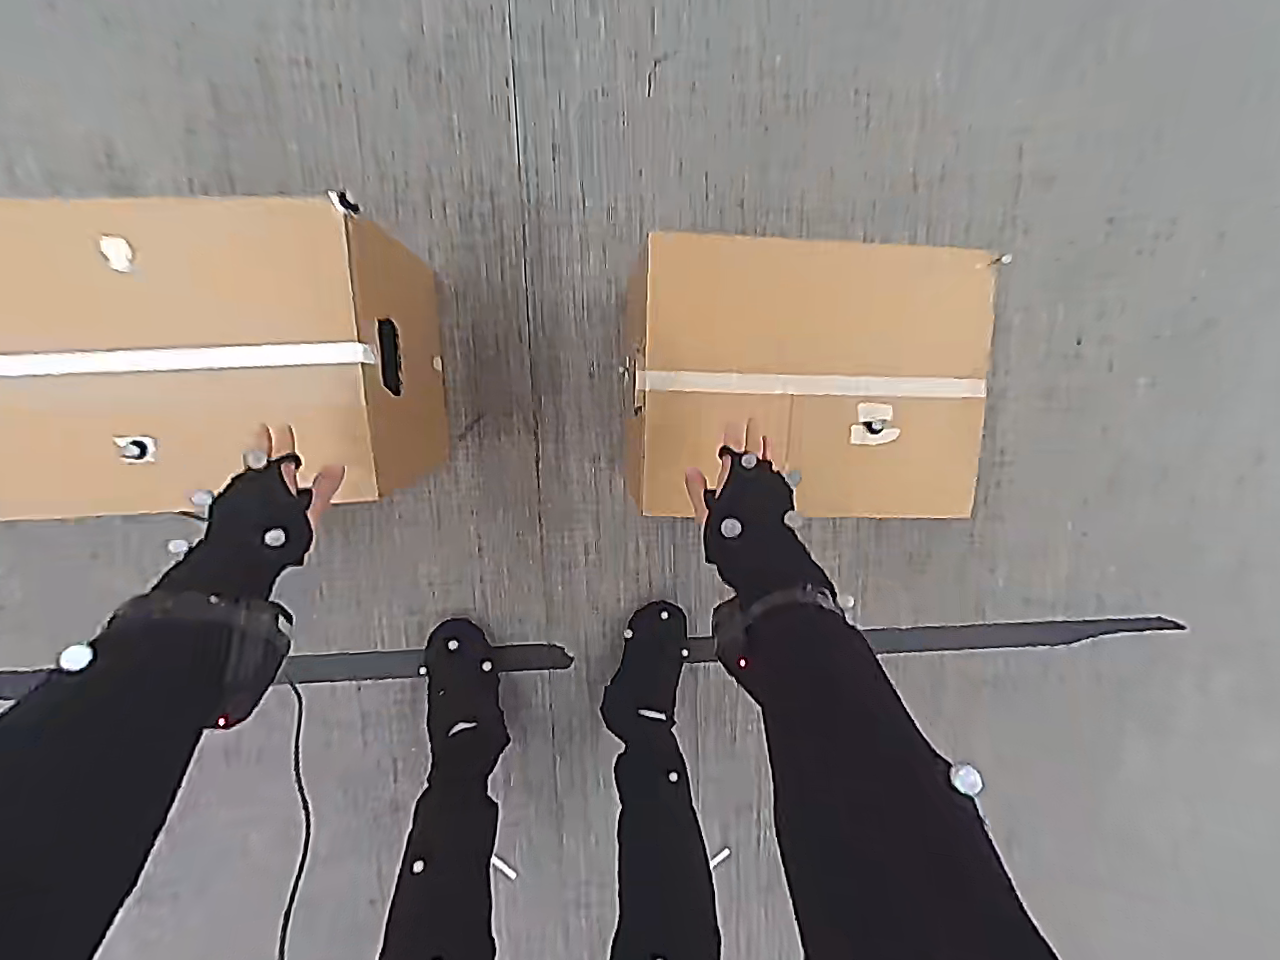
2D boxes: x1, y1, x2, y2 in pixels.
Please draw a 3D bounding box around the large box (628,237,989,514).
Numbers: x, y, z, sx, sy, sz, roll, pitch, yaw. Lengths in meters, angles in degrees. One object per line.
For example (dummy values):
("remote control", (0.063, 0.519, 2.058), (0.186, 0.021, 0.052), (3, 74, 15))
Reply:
("large box", (0.193, -0.132, 0.777), (0.408, 0.320, 0.320), (1, 98, -6))
